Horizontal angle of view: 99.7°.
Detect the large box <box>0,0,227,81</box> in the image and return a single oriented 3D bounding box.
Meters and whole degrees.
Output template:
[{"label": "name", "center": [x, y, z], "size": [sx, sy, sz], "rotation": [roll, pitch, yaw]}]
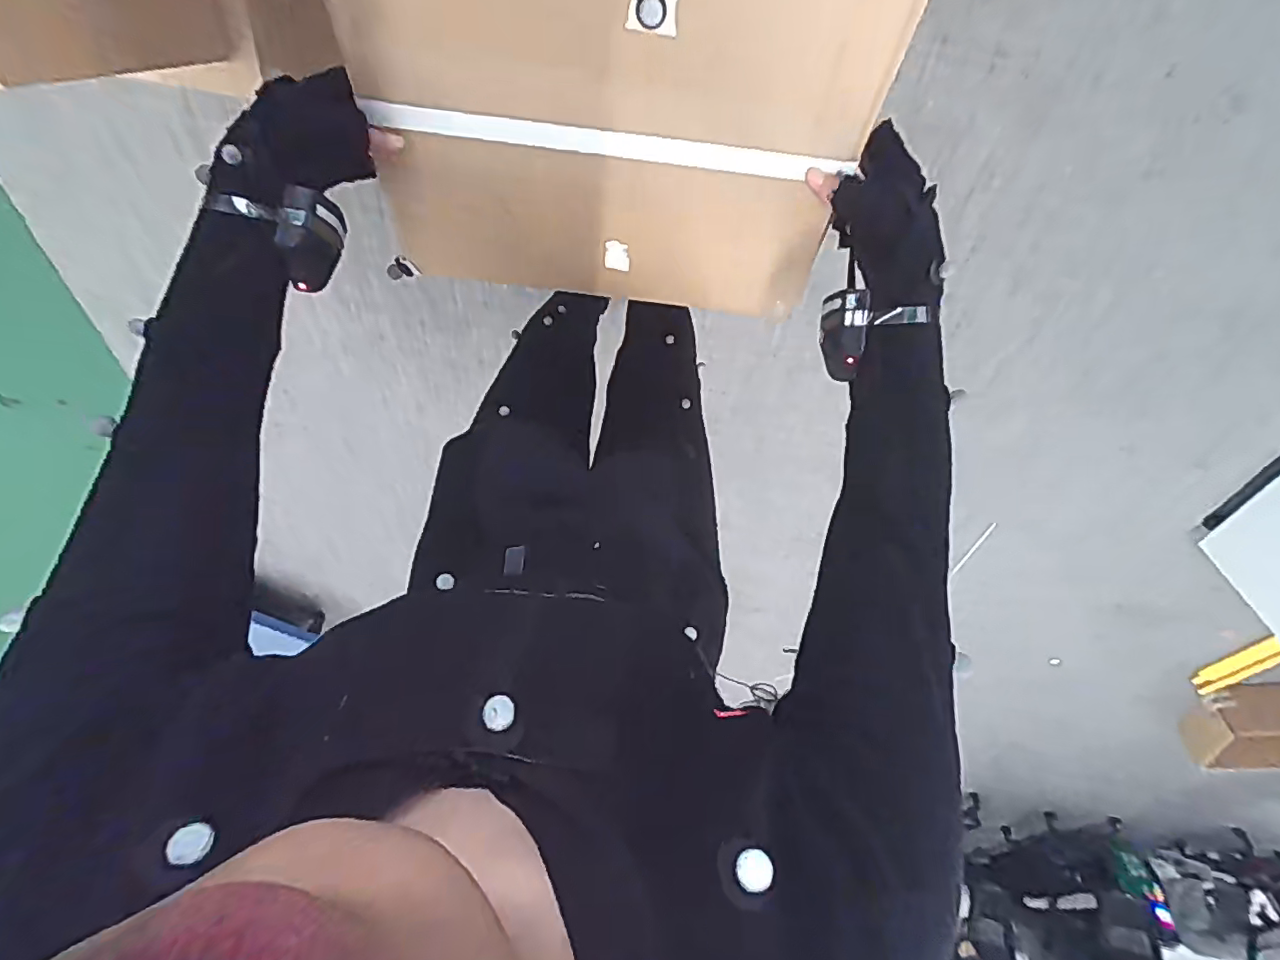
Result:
[{"label": "large box", "center": [-0.716, -0.582, 0.485], "size": [0.408, 0.320, 0.320], "rotation": [7, 131, -2]}]
